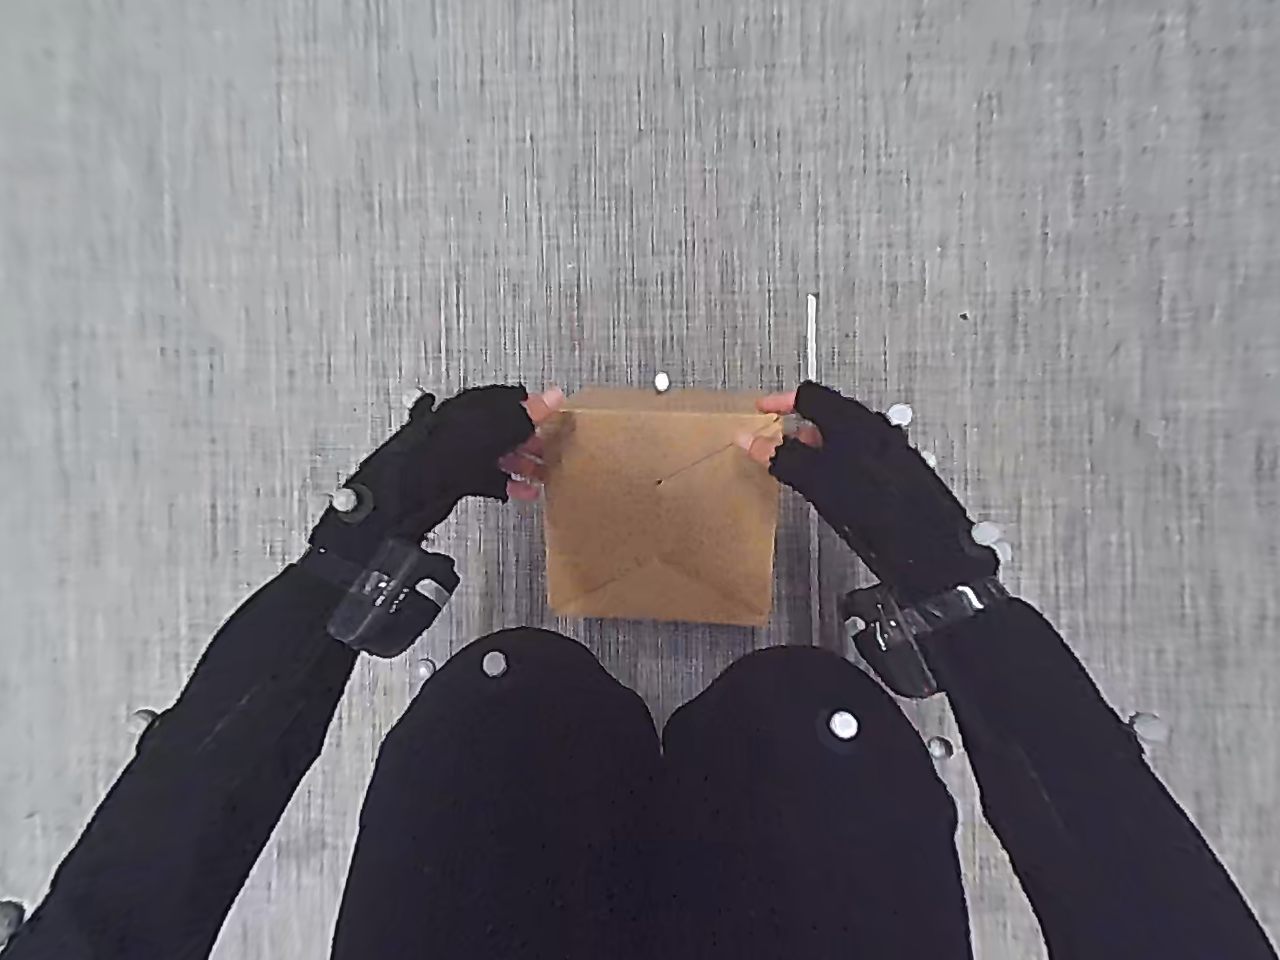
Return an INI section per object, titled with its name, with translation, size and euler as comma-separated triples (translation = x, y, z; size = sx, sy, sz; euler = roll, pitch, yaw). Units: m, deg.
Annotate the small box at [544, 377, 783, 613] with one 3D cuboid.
[small box]
translation = 0.026, 0.003, 0.477
size = 0.179, 0.176, 0.168
euler = 2, 109, 4
